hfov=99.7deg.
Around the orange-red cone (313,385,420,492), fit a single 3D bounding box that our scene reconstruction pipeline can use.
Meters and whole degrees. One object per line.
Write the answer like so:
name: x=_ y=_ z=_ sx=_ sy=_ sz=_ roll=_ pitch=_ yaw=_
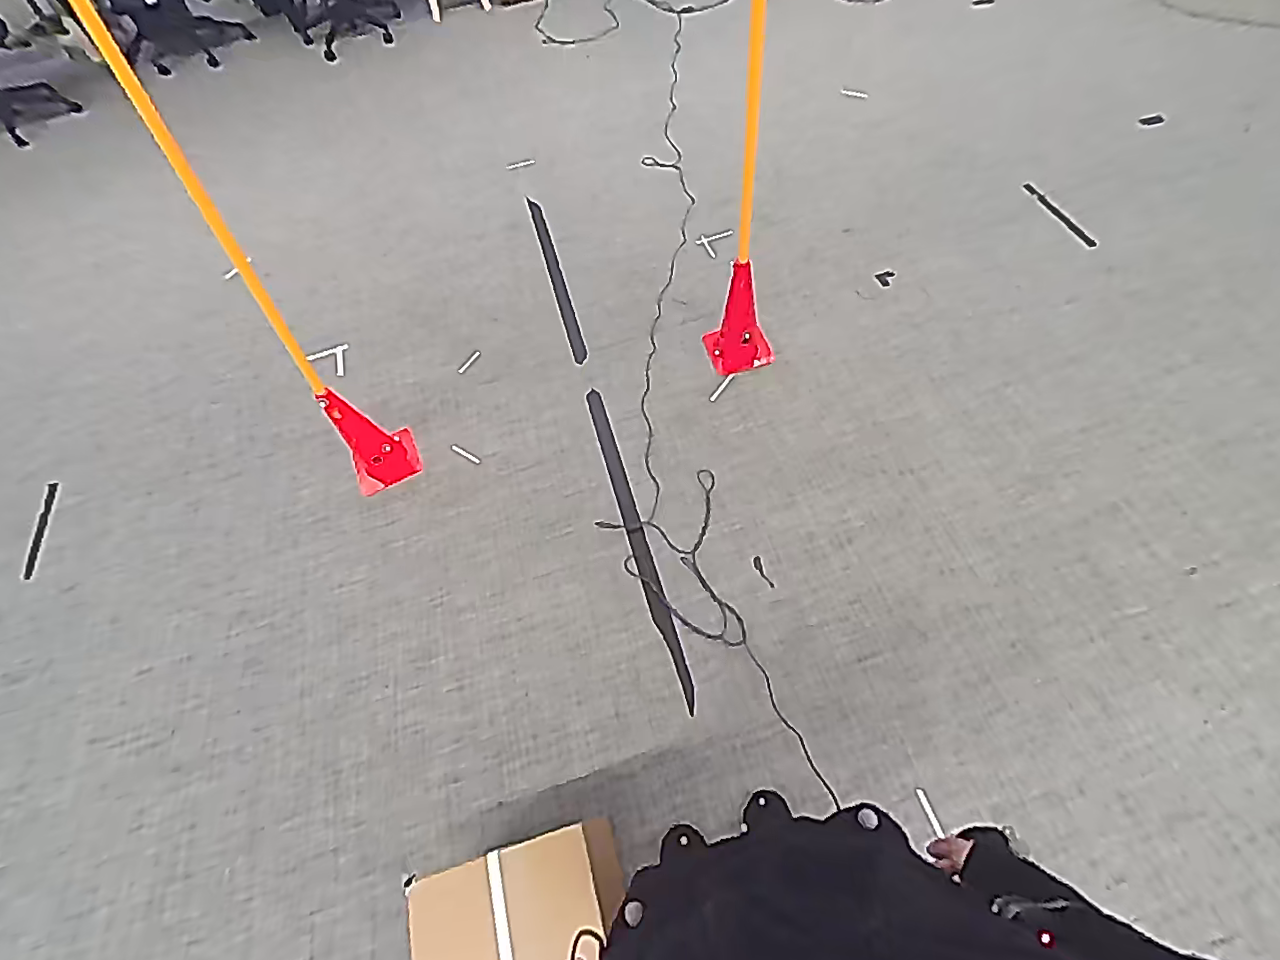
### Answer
orange-red cone: x=-0.833 y=-0.151 z=1.587 sx=0.199 sy=0.360 sz=0.198 roll=-25 pitch=60 yaw=-7
